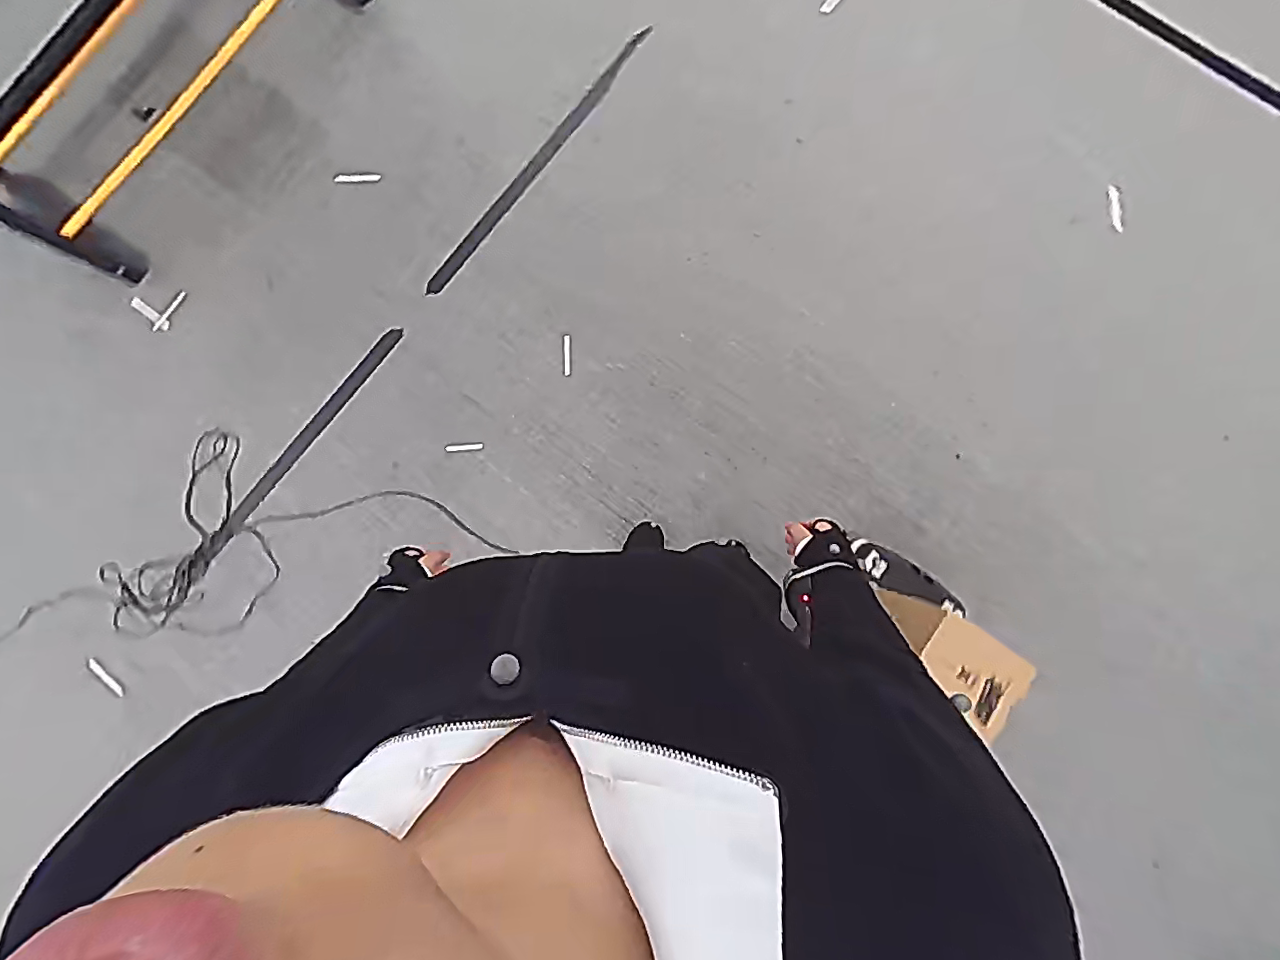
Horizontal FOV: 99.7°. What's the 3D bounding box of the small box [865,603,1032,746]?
[{"bbox_3d":[0.563,0.348,1.012,0.179,0.176,0.168,35,88,6],"label":"small box"}]
